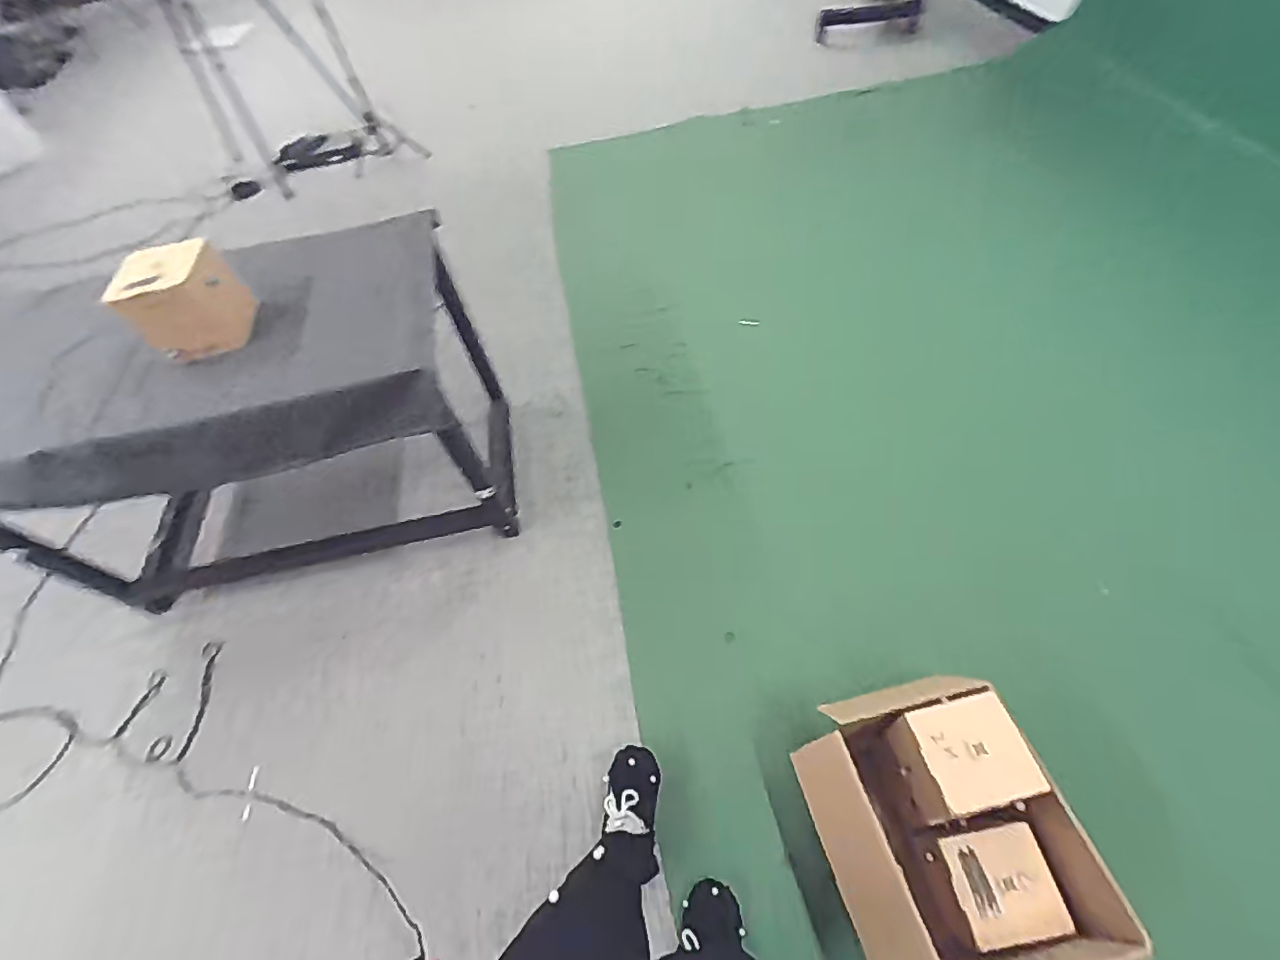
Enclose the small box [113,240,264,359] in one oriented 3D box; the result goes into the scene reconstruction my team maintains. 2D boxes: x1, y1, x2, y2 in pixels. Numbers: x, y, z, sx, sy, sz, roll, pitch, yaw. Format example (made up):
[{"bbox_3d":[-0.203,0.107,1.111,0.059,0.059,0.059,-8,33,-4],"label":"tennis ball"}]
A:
[{"bbox_3d":[-0.961,-0.382,1.173,0.168,0.176,0.179,-13,54,-1],"label":"small box"}]
